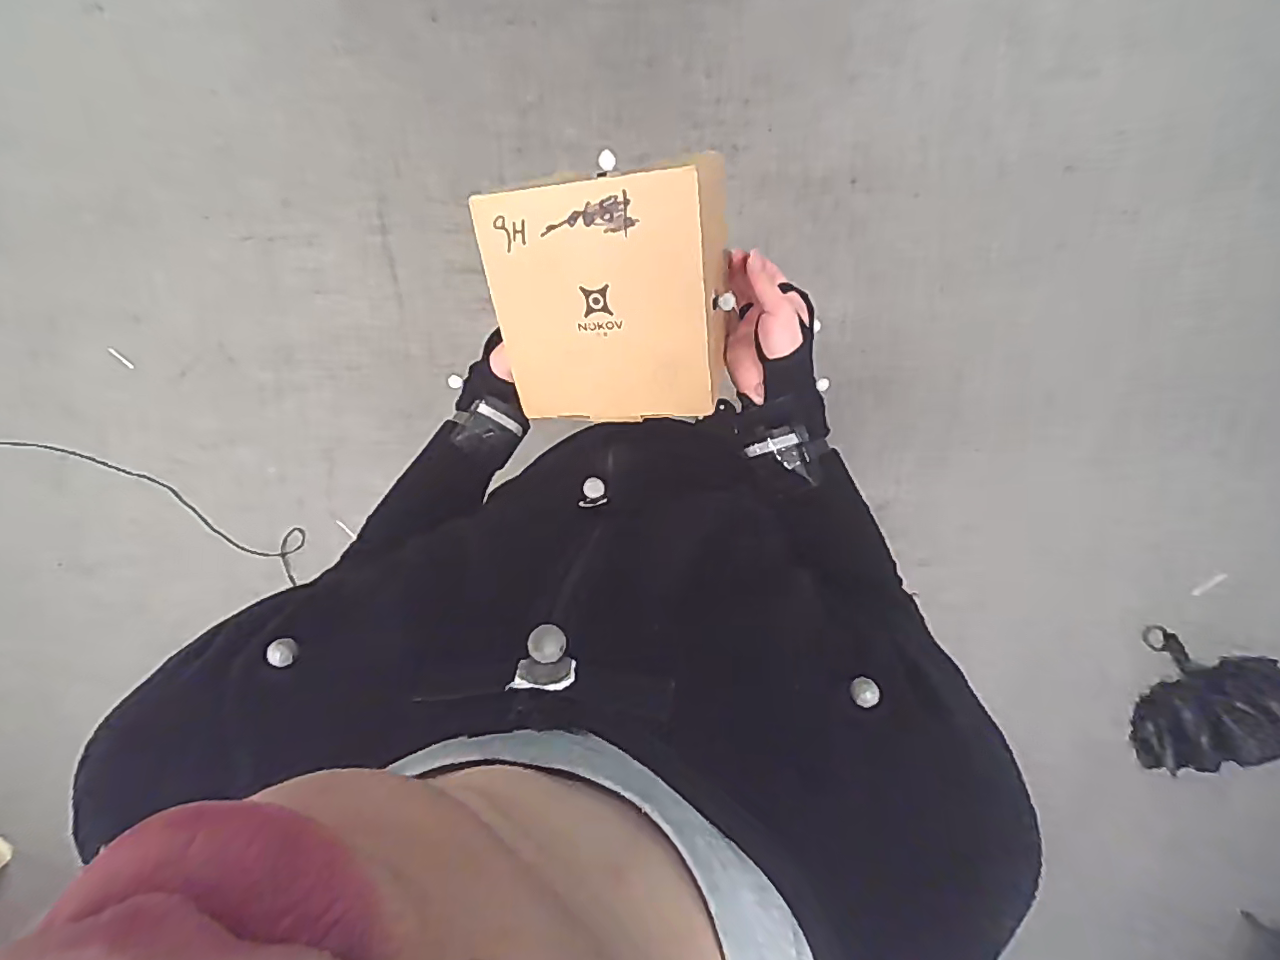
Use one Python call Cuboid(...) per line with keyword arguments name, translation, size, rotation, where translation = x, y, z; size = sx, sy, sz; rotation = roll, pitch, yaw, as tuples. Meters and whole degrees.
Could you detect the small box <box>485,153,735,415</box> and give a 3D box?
Cuboid(name="small box", translation=(-0.006, -0.173, 0.479), size=(0.168, 0.176, 0.179), rotation=(1, 125, 14))
